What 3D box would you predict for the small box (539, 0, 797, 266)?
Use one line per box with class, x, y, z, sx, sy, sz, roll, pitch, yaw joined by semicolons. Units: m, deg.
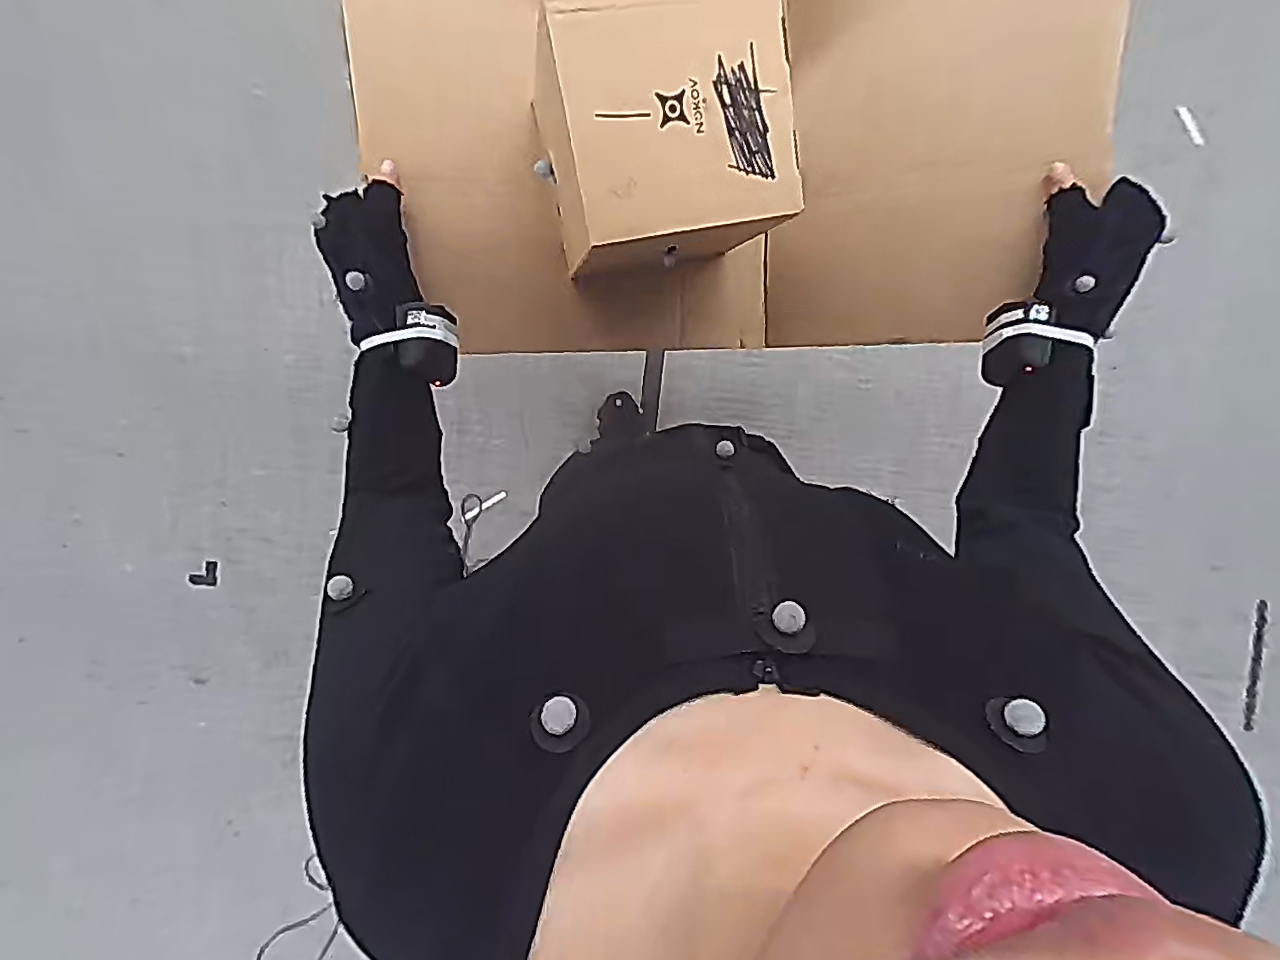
small box;0.015;-0.297;0.479;0.179;0.176;0.168;-13;105;-9
